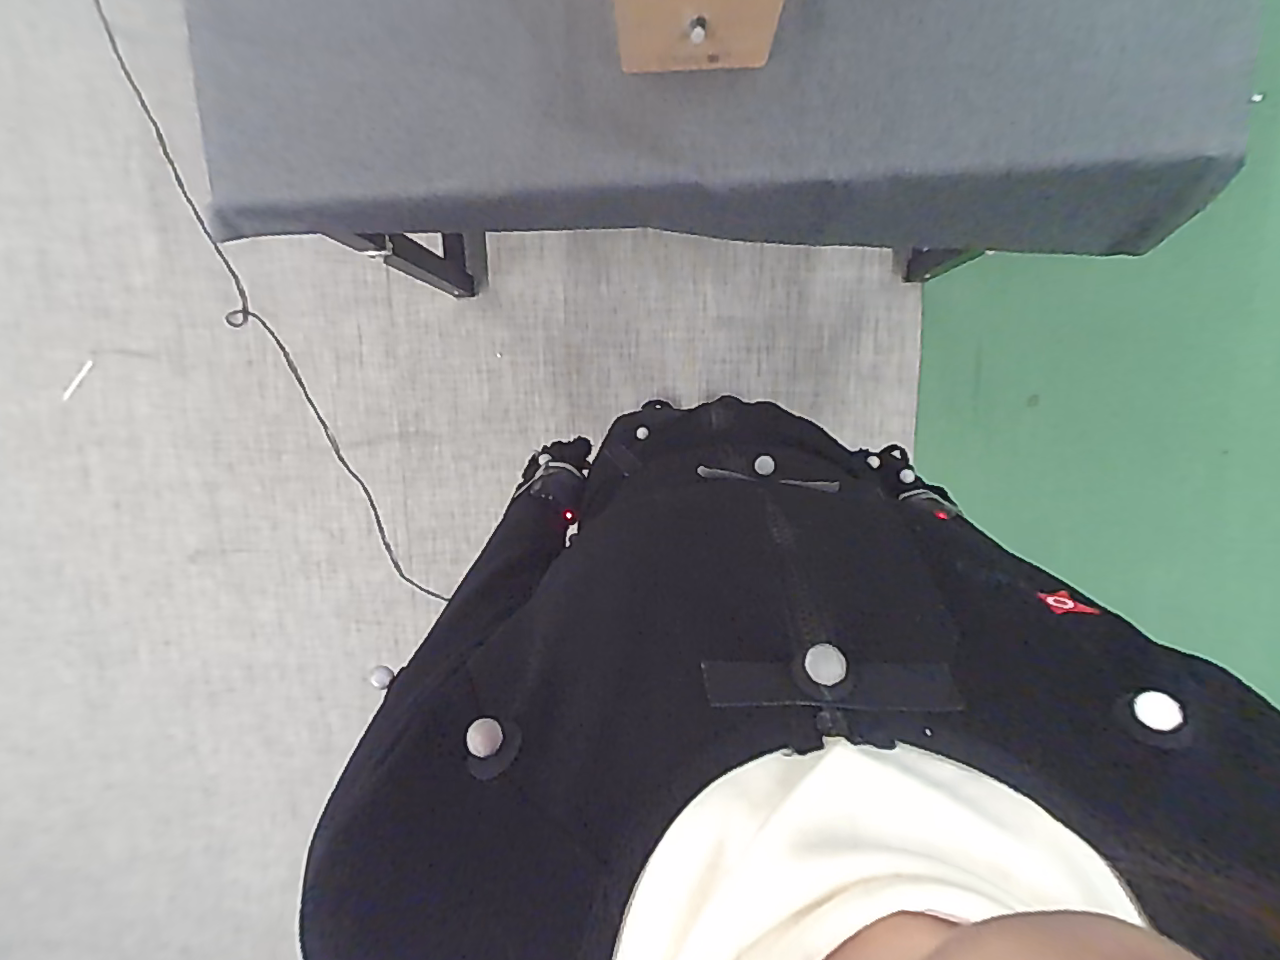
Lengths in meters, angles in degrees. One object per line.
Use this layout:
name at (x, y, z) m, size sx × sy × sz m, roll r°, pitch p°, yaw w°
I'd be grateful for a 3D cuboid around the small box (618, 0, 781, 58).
small box at (0.059, -0.551, 0.528) m, size 0.168 × 0.176 × 0.179 m, roll -1°, pitch 99°, yaw 4°
